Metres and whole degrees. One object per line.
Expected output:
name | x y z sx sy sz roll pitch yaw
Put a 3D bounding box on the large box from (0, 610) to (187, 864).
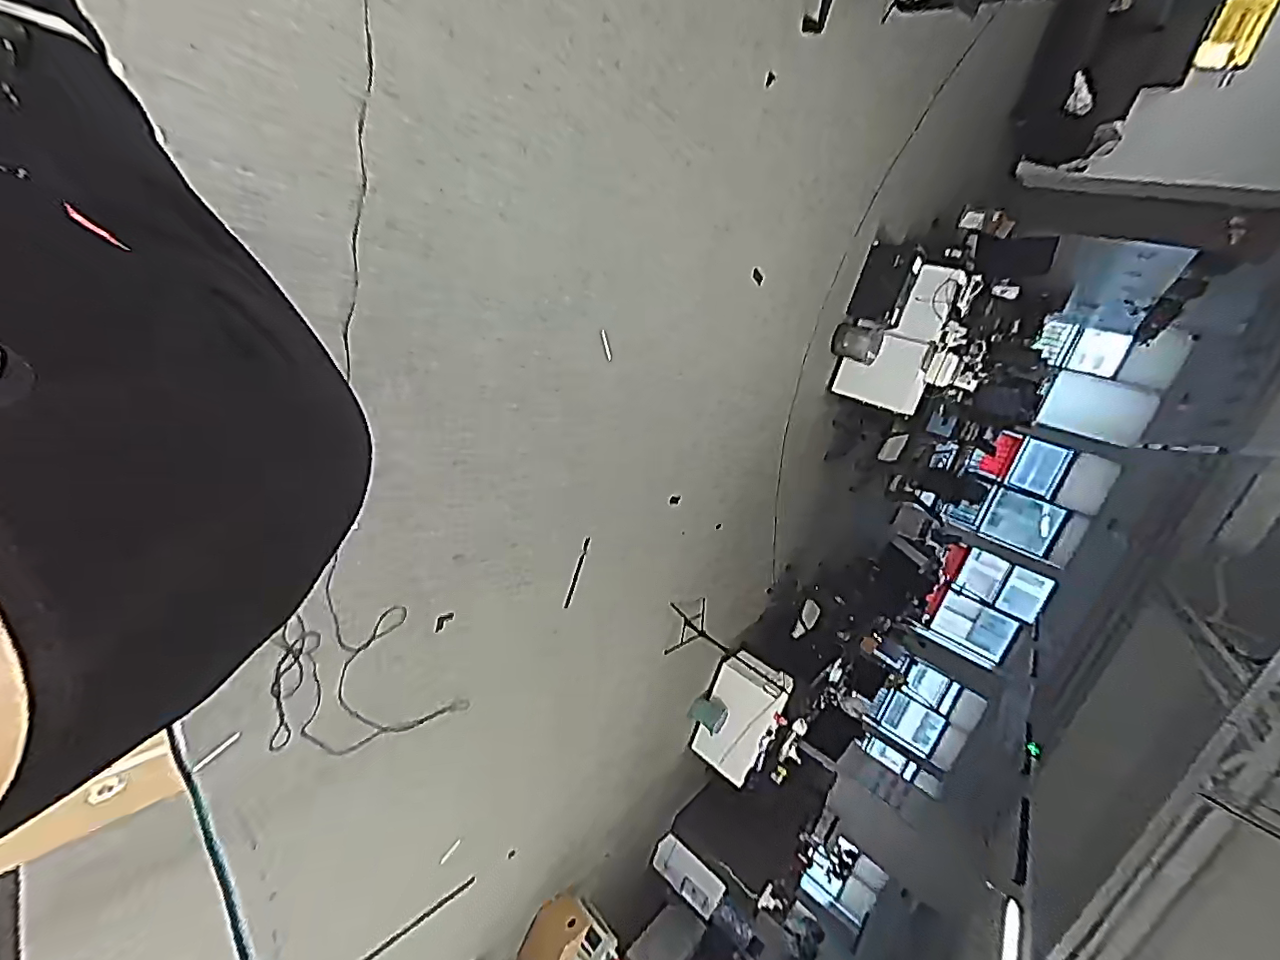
large box | -1.271 0.537 1.142 0.408 0.320 0.320 -15 124 -50
